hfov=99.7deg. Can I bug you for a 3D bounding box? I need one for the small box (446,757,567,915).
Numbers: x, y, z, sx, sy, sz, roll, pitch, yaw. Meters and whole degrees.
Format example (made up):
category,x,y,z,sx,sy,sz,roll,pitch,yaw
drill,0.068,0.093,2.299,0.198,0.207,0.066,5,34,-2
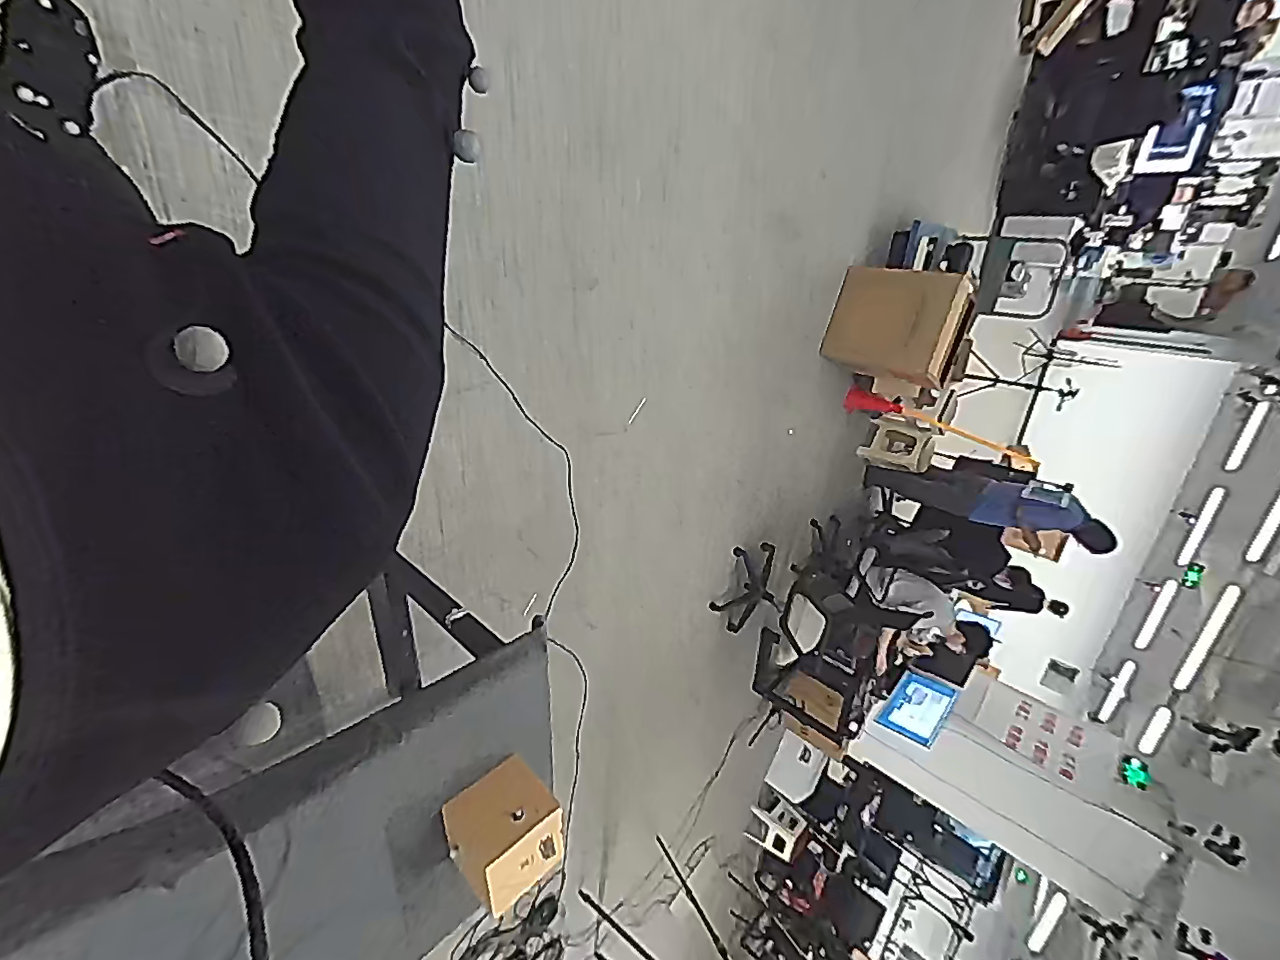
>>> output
category,x,y,z,sx,sy,sz,roll,pitch,yaw
small box,-0.272,0.719,1.114,0.179,0.176,0.168,-23,124,-41
